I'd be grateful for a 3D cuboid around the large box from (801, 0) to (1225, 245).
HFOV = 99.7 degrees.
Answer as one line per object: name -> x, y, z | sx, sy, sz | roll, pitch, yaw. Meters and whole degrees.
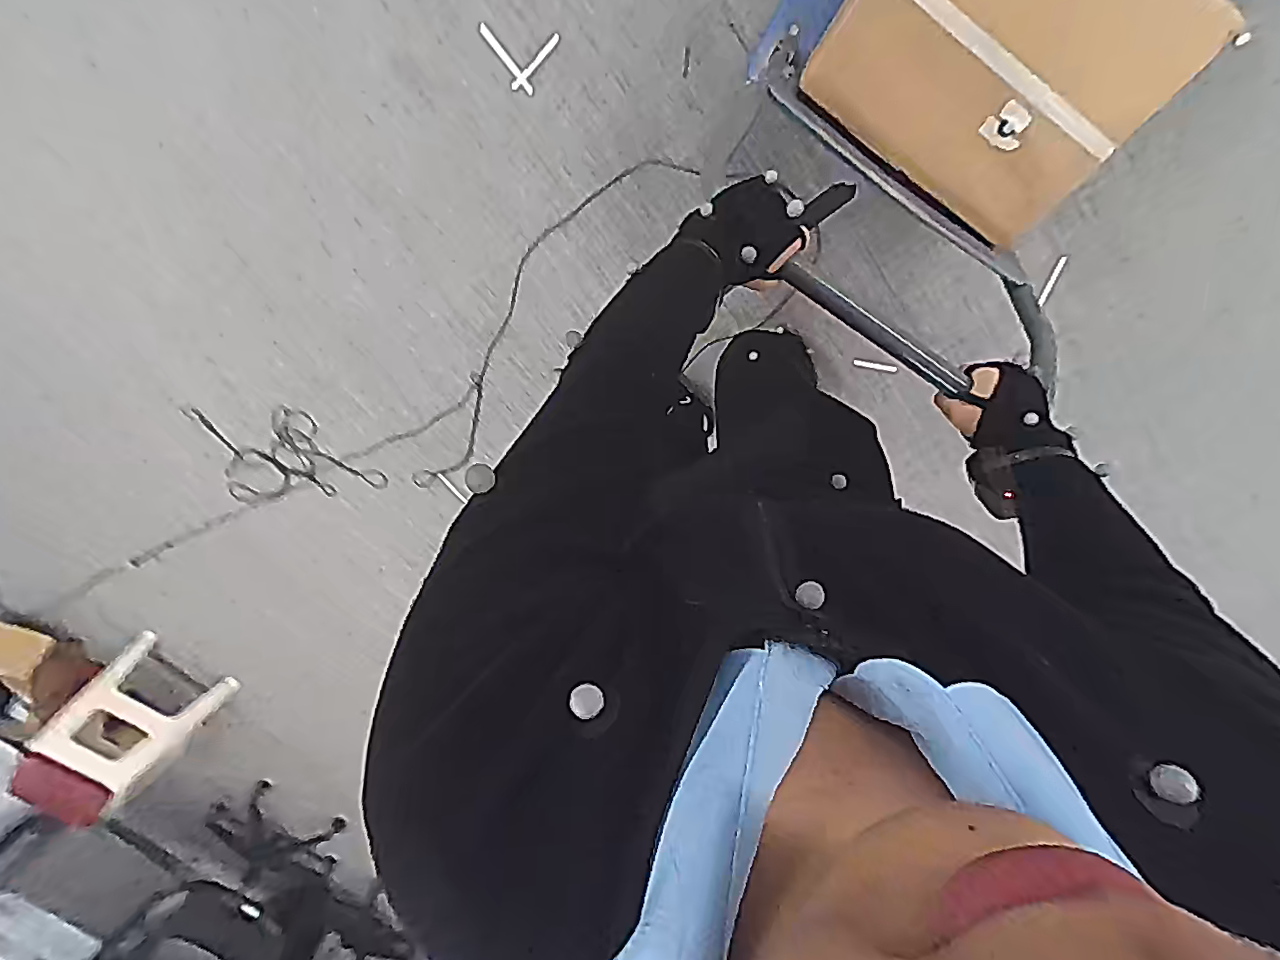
large box -> 0.502, -0.649, 0.827 | 0.408, 0.320, 0.320 | 31, 133, -11
